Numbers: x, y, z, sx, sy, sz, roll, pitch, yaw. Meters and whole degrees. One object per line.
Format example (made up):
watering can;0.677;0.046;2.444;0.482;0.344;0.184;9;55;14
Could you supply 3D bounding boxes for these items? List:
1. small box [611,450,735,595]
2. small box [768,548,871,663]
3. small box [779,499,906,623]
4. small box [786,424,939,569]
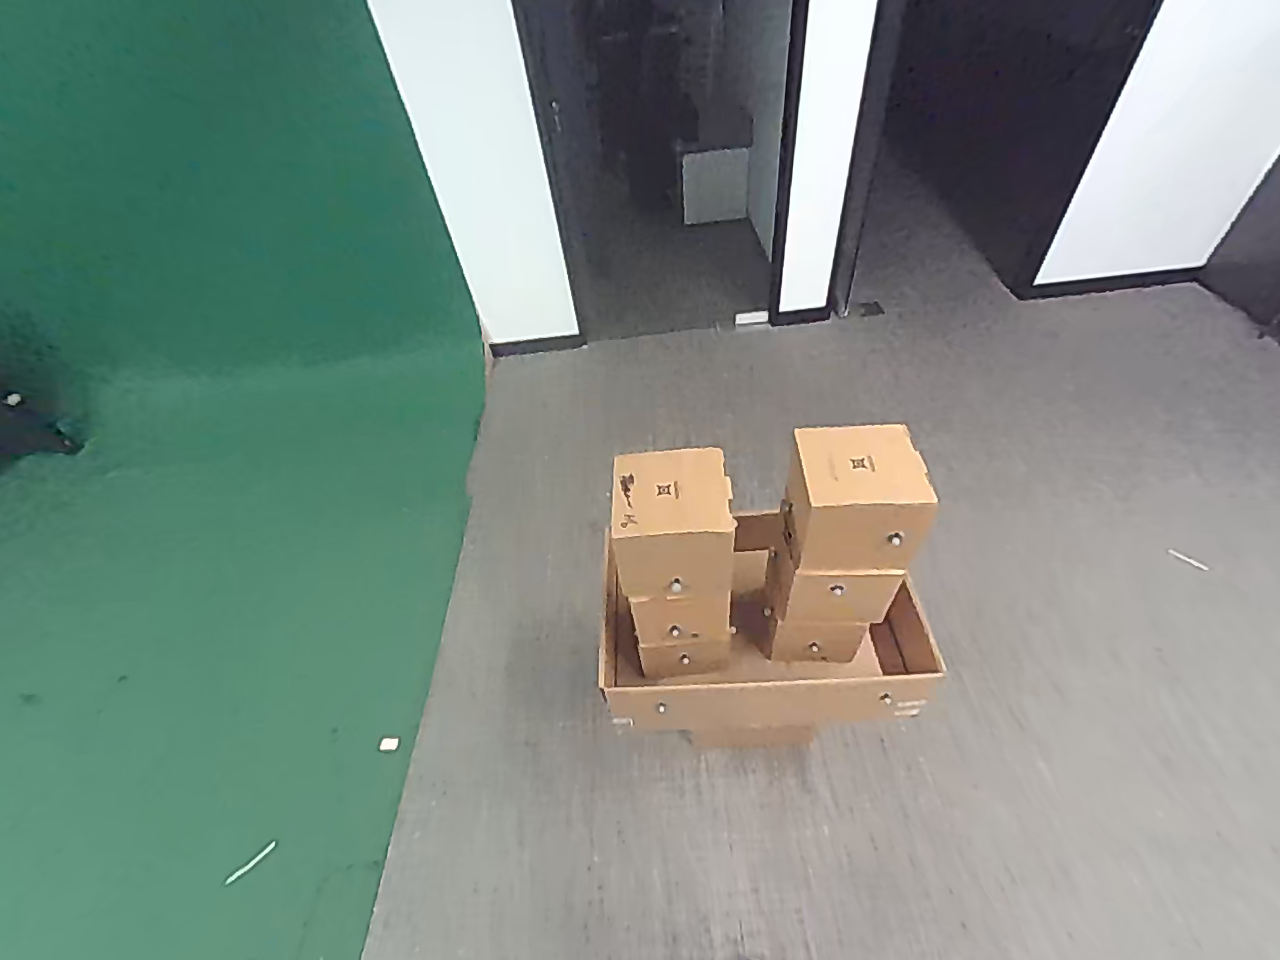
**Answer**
small box;0.053;0.071;0.864;0.179;0.176;0.168;-3;47;5
small box;0.353;0.256;1.095;0.168;0.176;0.179;-1;47;8
small box;0.349;0.146;0.973;0.179;0.176;0.168;-1;48;6
small box;0.337;0.029;0.860;0.179;0.176;0.168;-2;47;7
